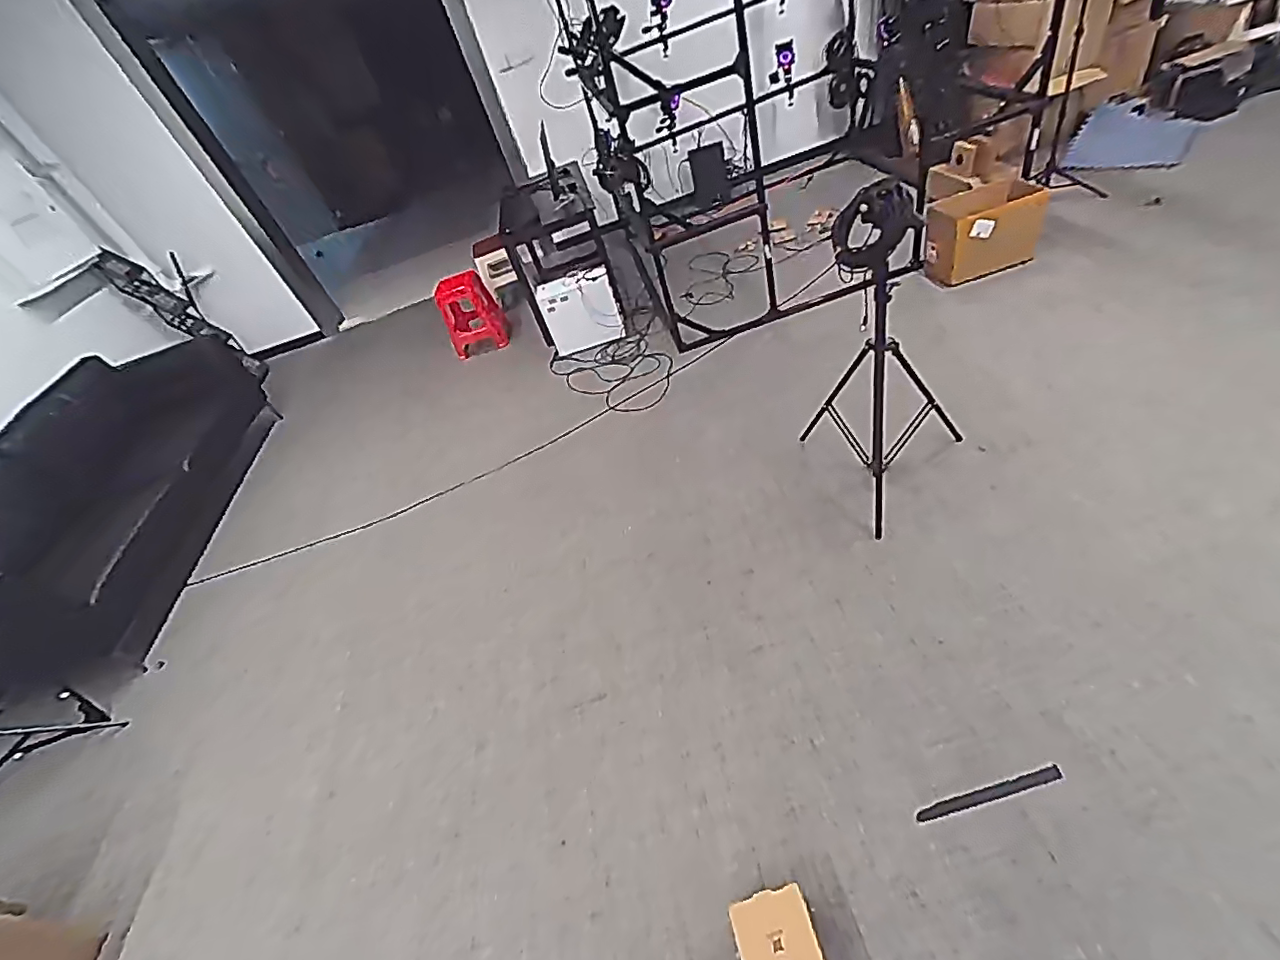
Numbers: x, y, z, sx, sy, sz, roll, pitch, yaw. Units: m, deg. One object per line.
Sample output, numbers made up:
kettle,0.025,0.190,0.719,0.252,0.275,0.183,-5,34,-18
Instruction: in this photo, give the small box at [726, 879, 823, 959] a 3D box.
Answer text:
small box,0.301,1.015,1.183,0.168,0.176,0.179,-20,41,3
